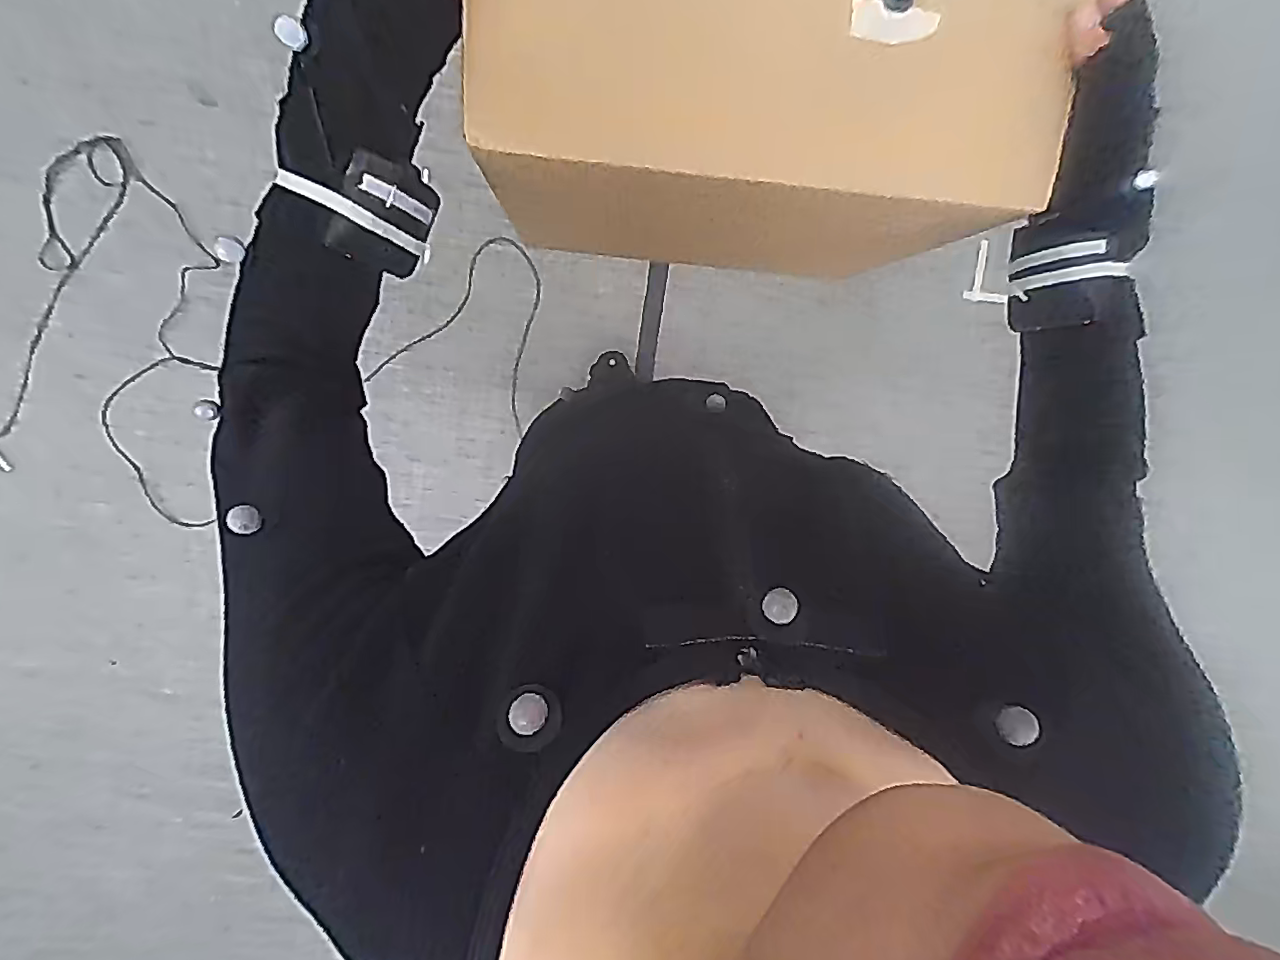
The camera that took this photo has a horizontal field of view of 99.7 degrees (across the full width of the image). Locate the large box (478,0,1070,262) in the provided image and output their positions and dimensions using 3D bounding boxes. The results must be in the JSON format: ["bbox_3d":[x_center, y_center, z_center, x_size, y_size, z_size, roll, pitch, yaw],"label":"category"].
[{"bbox_3d":[0.083,-0.398,0.488,0.408,0.320,0.320,2,103,-6],"label":"large box"}]
